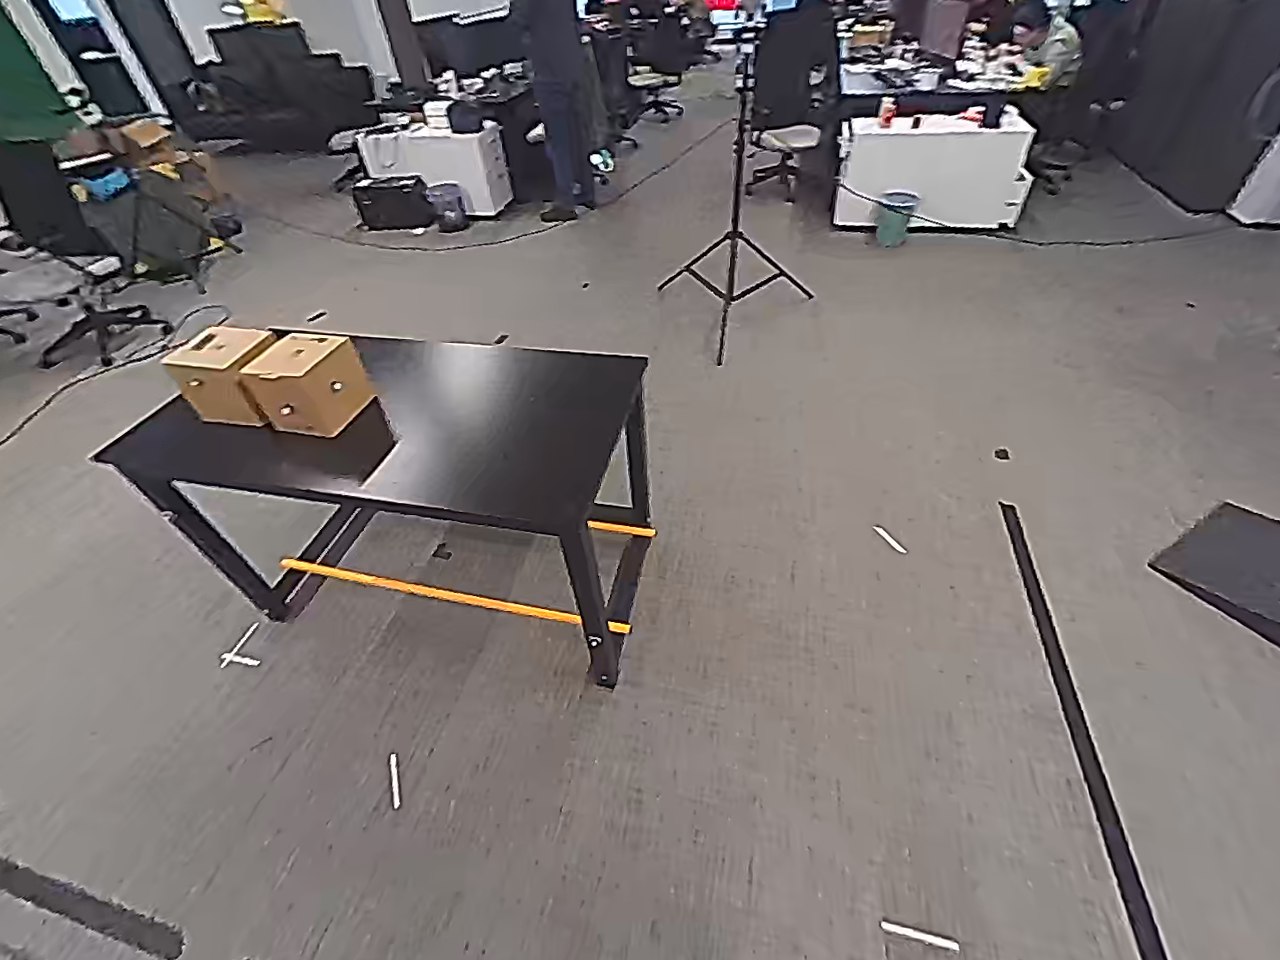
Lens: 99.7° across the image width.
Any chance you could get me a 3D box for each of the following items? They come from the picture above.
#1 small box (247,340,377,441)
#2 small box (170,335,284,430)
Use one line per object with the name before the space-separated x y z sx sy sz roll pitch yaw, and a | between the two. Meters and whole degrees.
small box | -0.771 -0.214 1.296 0.168 0.176 0.179 7 46 12
small box | -0.980 -0.240 1.339 0.179 0.176 0.168 6 45 10
